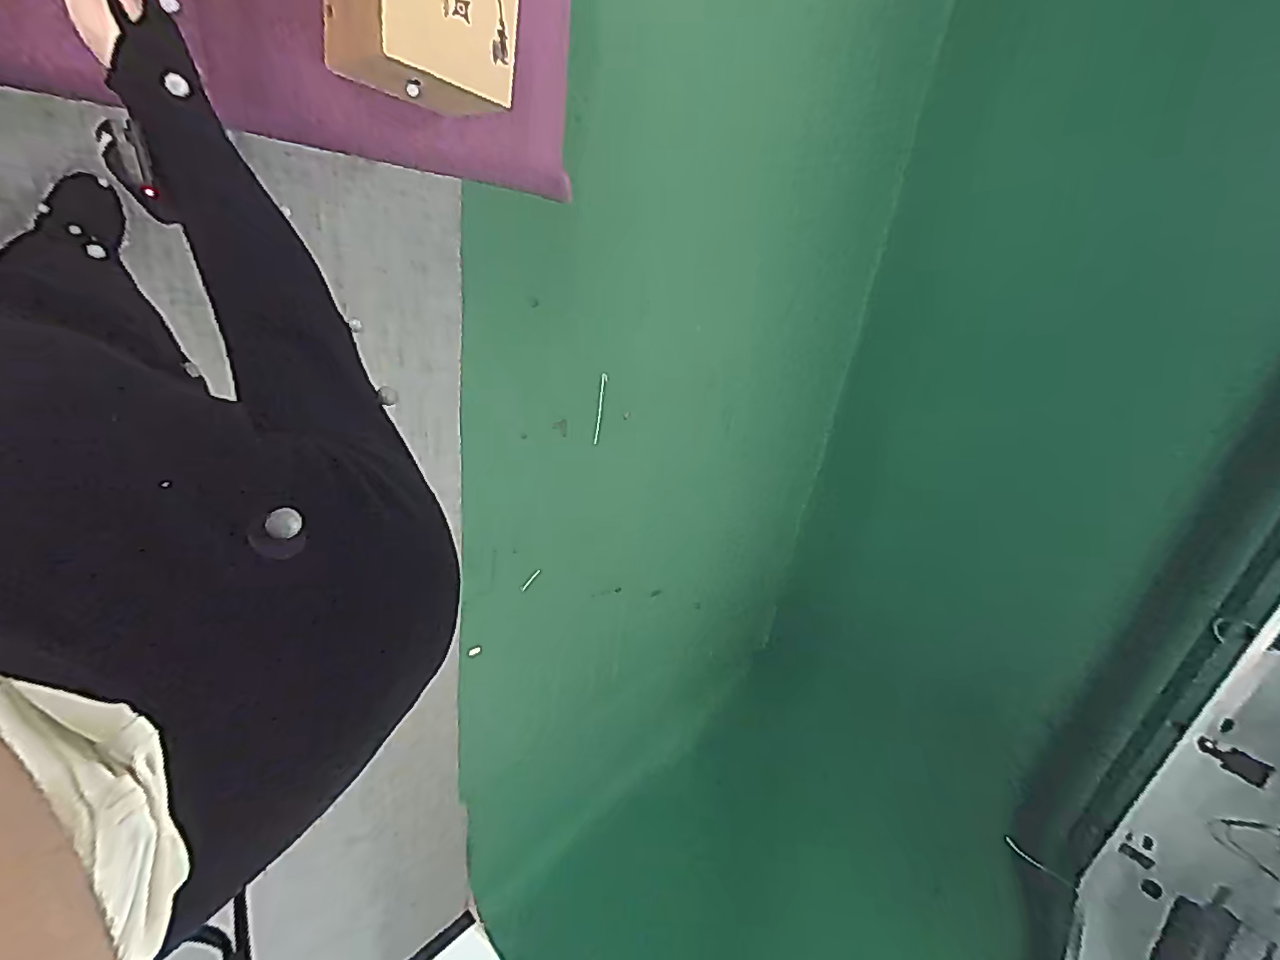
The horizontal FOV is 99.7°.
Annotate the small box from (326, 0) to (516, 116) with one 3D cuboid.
[{"bbox_3d":[-0.280,-0.585,0.685,0.179,0.176,0.168,-10,118,-46],"label":"small box"}]

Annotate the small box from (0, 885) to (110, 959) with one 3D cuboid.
[{"bbox_3d":[-1.566,1.247,1.444,0.179,0.176,0.168,-17,123,-44],"label":"small box"}]

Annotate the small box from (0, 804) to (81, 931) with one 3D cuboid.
[{"bbox_3d":[-1.522,0.949,1.324,0.179,0.176,0.168,-17,124,-43],"label":"small box"}]
